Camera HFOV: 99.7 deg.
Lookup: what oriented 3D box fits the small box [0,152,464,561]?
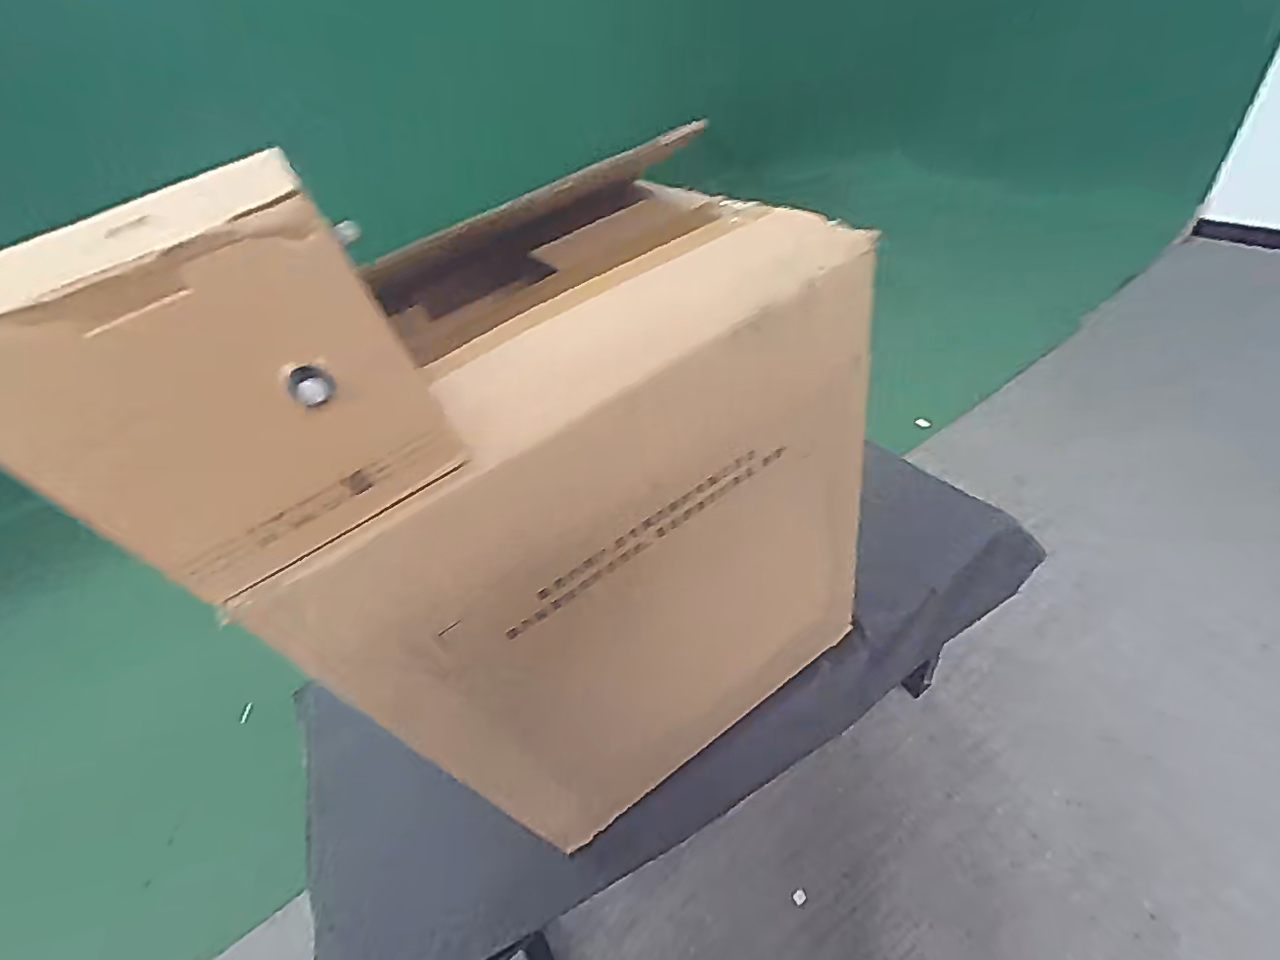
[{"bbox_3d":[-0.235,-0.074,0.336,0.168,0.176,0.179,-32,44,-14],"label":"small box"}]
